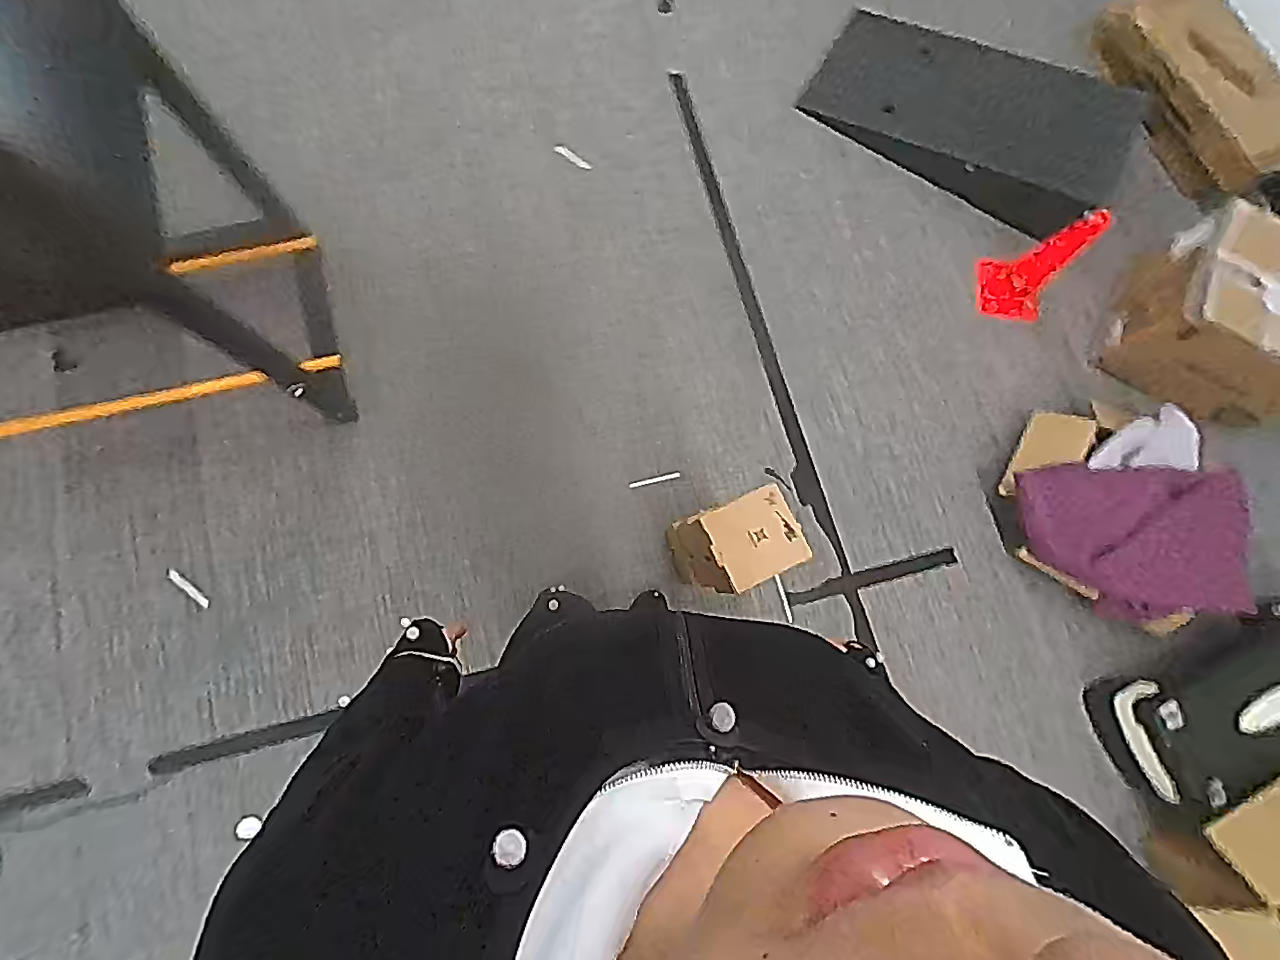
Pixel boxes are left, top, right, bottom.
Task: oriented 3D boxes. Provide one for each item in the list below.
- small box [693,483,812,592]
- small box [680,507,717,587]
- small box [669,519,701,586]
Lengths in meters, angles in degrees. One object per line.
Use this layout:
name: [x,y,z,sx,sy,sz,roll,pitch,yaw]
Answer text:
small box: [0.221,0.127,1.128,0.179,0.176,0.168,-24,80,-8]
small box: [0.211,0.147,1.292,0.179,0.176,0.168,-22,80,-8]
small box: [0.188,0.179,1.452,0.179,0.176,0.168,-17,79,-5]
